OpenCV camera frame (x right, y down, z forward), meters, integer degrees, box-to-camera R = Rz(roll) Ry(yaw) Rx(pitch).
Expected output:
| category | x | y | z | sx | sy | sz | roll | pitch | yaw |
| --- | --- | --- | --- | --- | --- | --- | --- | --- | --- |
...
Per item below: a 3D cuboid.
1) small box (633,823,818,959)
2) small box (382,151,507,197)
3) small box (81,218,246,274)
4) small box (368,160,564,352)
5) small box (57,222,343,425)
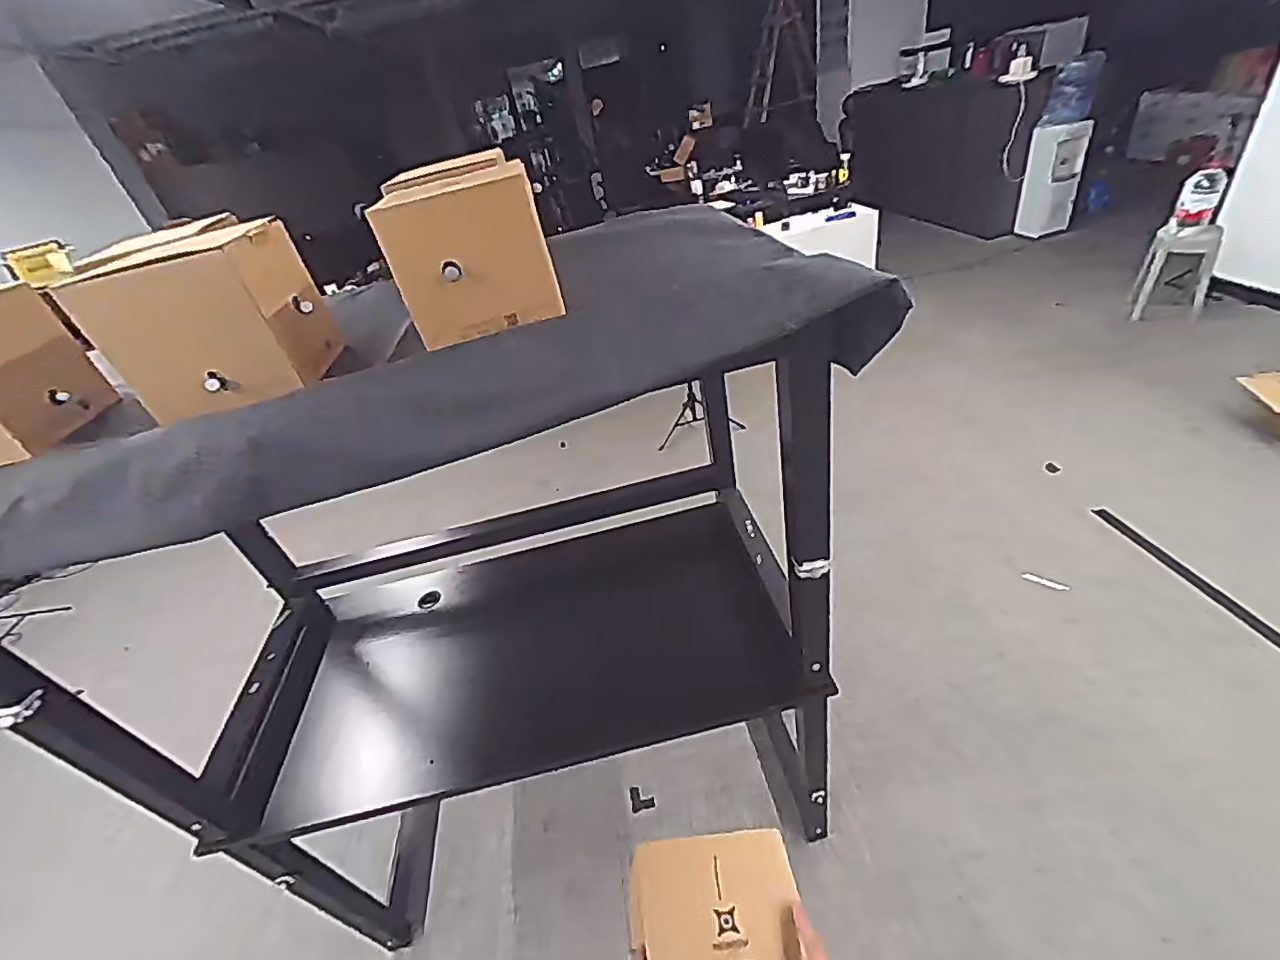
| category | x | y | z | sx | sy | sz | roll | pitch | yaw |
| --- | --- | --- | --- | --- | --- | --- | --- | --- | --- |
| small box | 0.082 | 0.503 | 0.579 | 0.168 | 0.176 | 0.179 | -1 | 35 | -7 |
| small box | -0.284 | -0.421 | 0.889 | 0.179 | 0.176 | 0.168 | -14 | 37 | -1 |
| small box | -0.700 | -0.300 | 0.865 | 0.168 | 0.176 | 0.179 | -19 | 36 | -6 |
| small box | -0.196 | -0.270 | 0.660 | 0.168 | 0.176 | 0.179 | -16 | 35 | -3 |
| small box | -0.495 | -0.189 | 0.649 | 0.179 | 0.176 | 0.168 | -15 | 35 | -2 |
